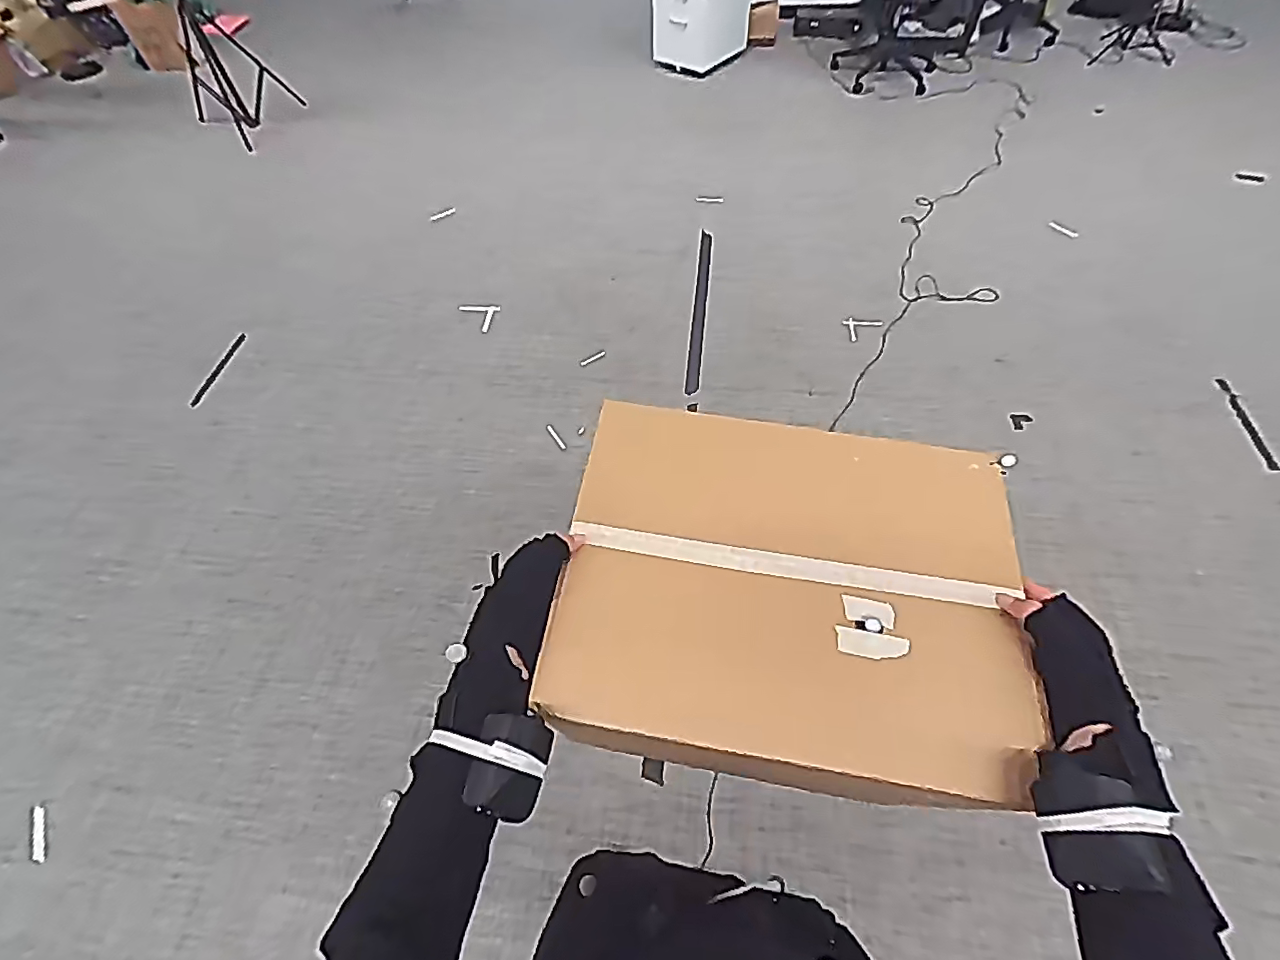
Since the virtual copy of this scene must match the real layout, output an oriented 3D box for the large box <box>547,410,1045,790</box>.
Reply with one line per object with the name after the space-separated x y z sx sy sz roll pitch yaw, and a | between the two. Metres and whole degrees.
0.136 0.154 0.628 0.408 0.320 0.320 9 62 4 | large box
